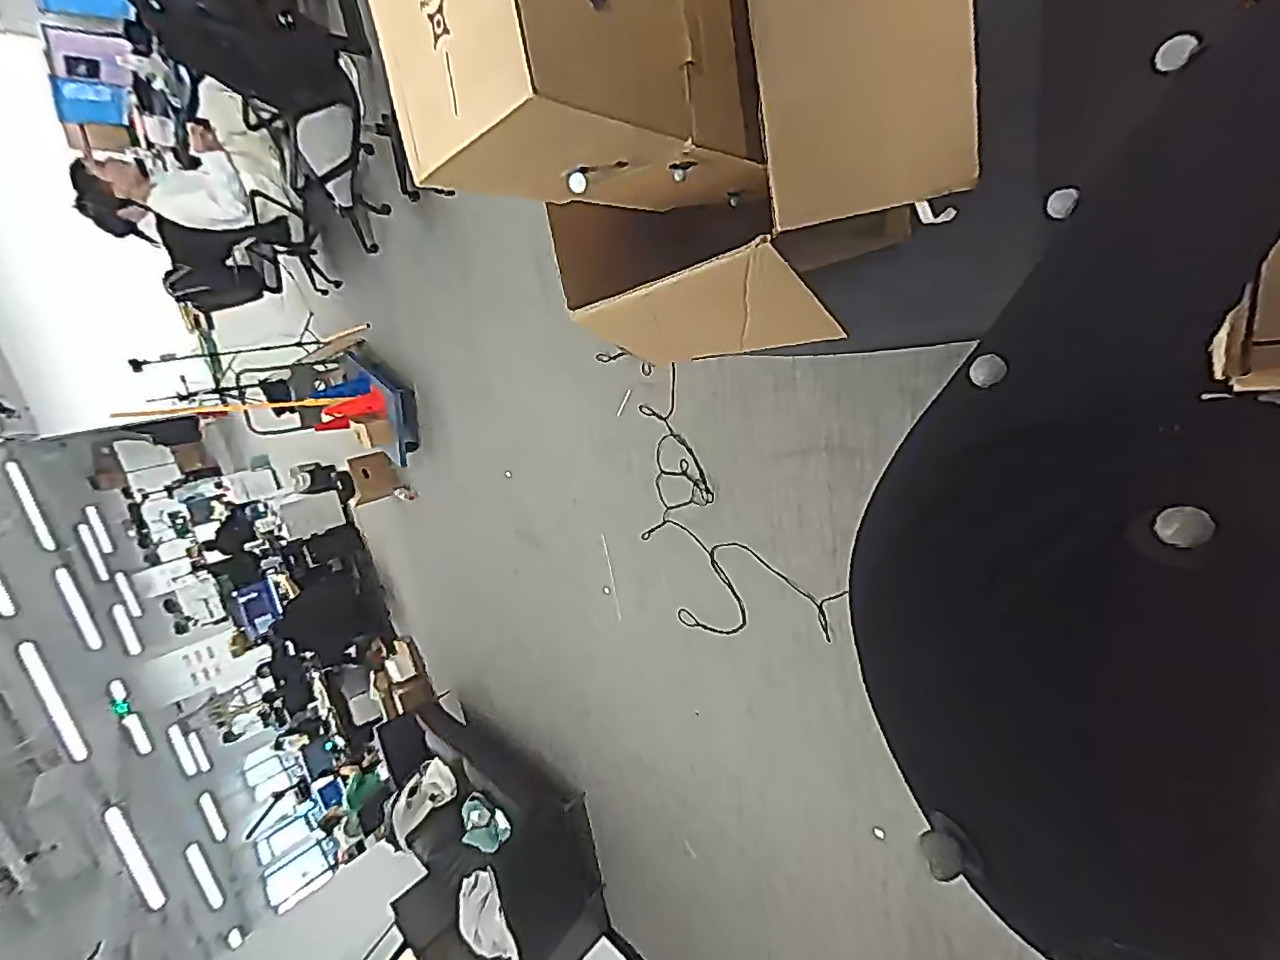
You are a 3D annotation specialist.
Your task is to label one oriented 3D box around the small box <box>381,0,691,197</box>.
[{"bbox_3d":[-0.079,-0.350,0.433,0.168,0.176,0.179,2,107,42],"label":"small box"}]
